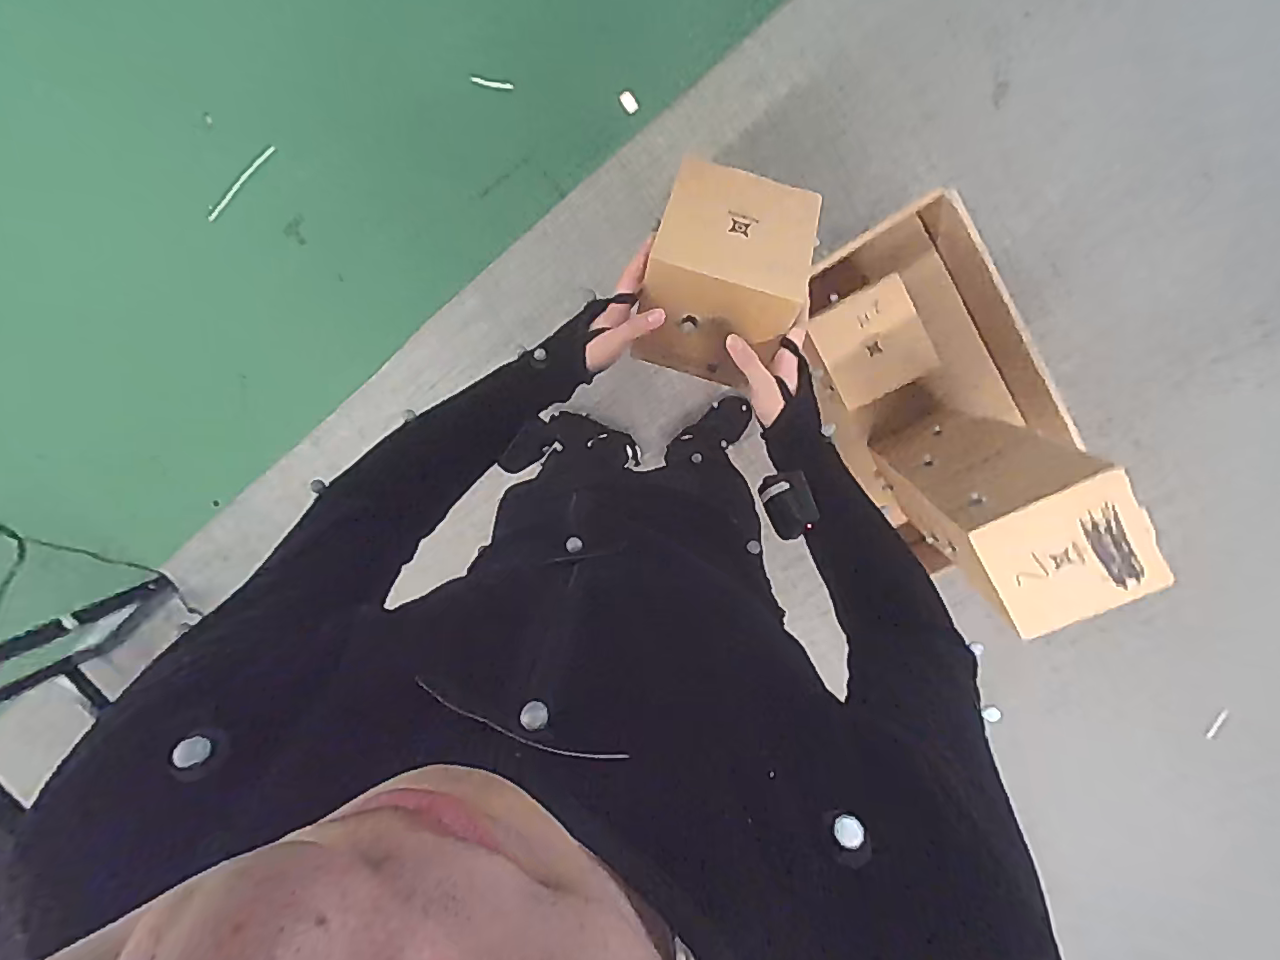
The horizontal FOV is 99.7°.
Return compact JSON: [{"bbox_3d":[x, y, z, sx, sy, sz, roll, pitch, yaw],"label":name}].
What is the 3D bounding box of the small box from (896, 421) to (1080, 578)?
[{"bbox_3d":[0.539,0.023,0.870,0.179,0.176,0.168,-29,99,14],"label":"small box"}]
